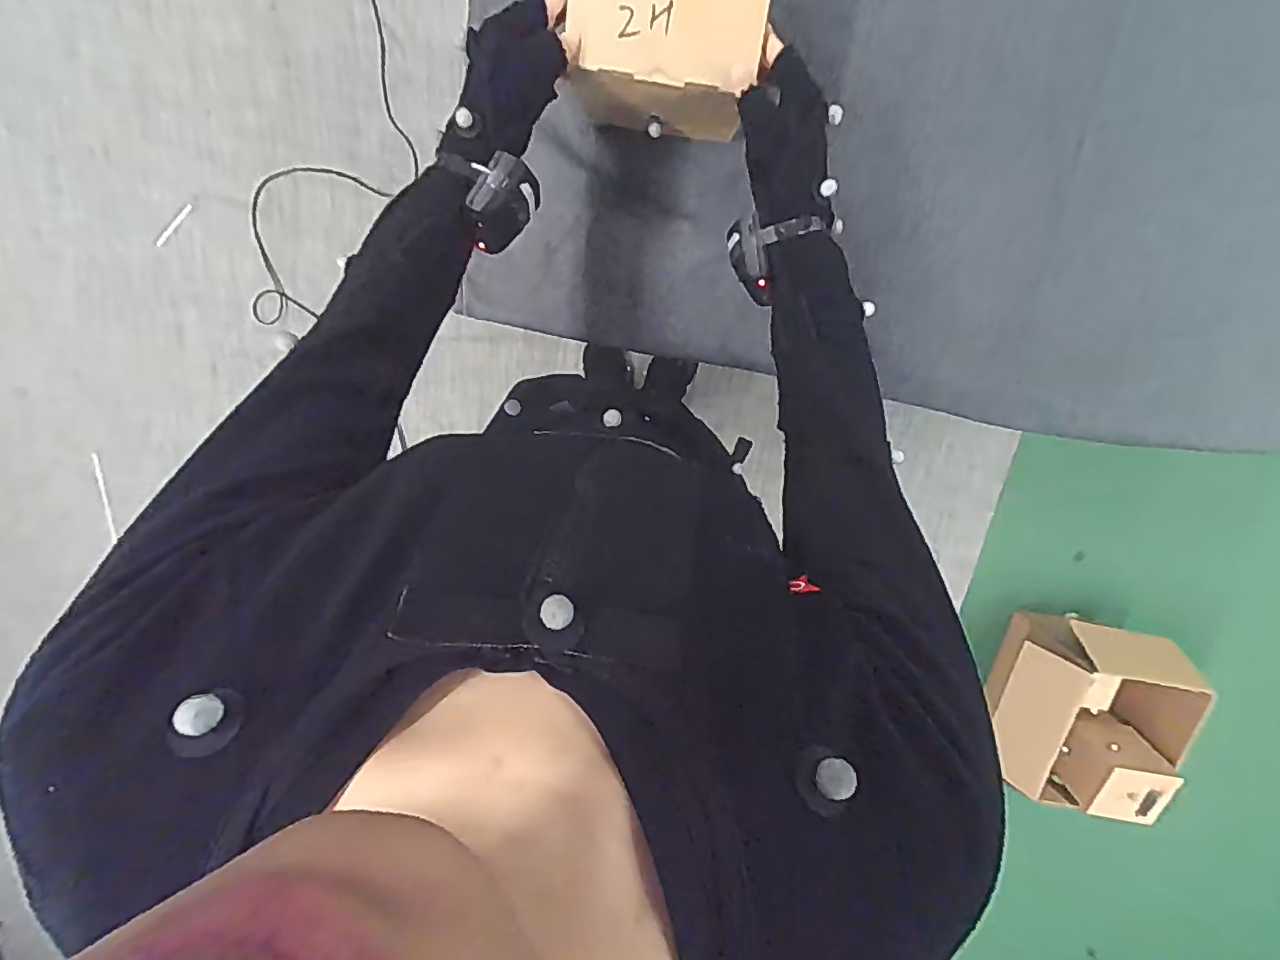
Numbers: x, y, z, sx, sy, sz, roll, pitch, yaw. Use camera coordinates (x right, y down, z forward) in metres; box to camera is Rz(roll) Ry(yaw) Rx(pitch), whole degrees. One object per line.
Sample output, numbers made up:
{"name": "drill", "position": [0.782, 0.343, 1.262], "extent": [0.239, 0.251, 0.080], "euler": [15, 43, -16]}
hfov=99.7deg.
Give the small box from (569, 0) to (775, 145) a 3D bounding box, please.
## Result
{"name": "small box", "position": [0.033, -0.446, 0.508], "extent": [0.168, 0.176, 0.179], "euler": [8, 109, -1]}
